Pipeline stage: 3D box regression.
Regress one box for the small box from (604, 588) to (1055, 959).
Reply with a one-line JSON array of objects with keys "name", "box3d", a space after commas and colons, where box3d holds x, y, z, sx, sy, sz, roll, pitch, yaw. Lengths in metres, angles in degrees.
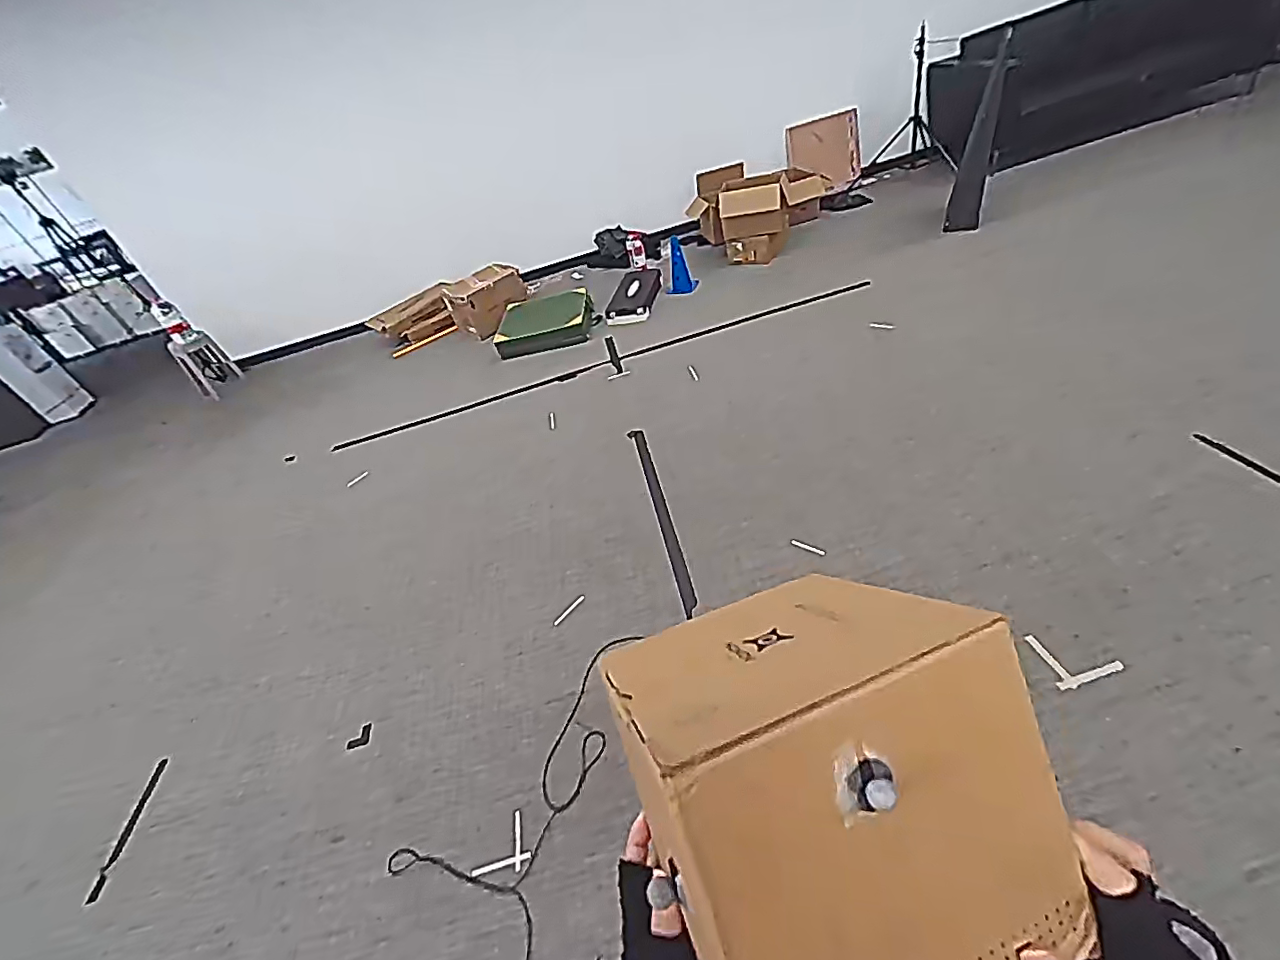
[{"name": "small box", "box3d": [0.095, 0.182, 0.322, 0.179, 0.176, 0.168, -17, 1, -13]}]
